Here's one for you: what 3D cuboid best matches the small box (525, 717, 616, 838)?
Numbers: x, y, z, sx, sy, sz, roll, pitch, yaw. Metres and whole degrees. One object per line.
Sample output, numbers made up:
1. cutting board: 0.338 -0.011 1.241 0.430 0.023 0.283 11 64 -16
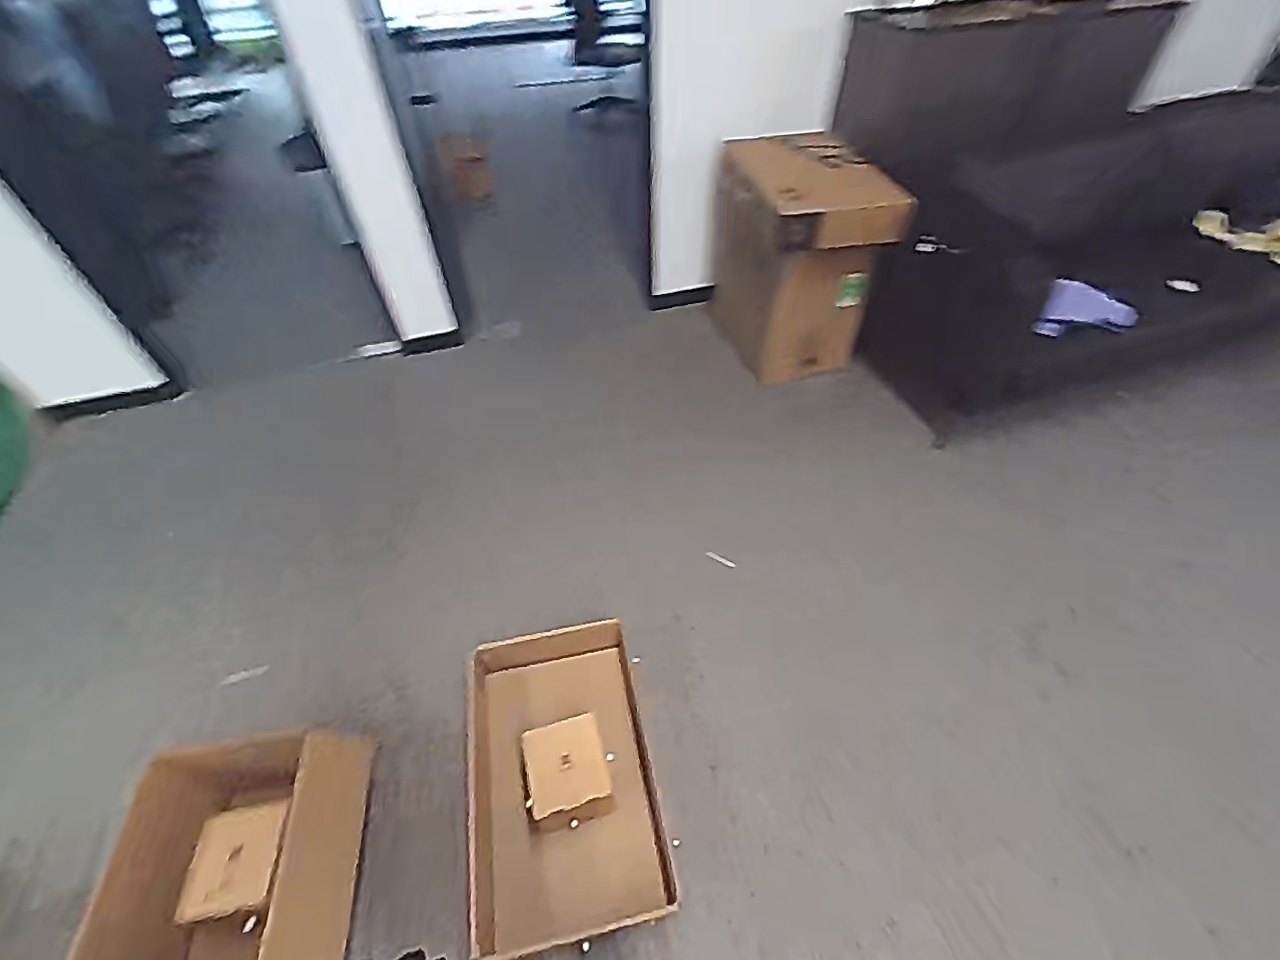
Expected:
1. small box: -0.155 0.668 1.212 0.168 0.176 0.179 -13 49 -11
